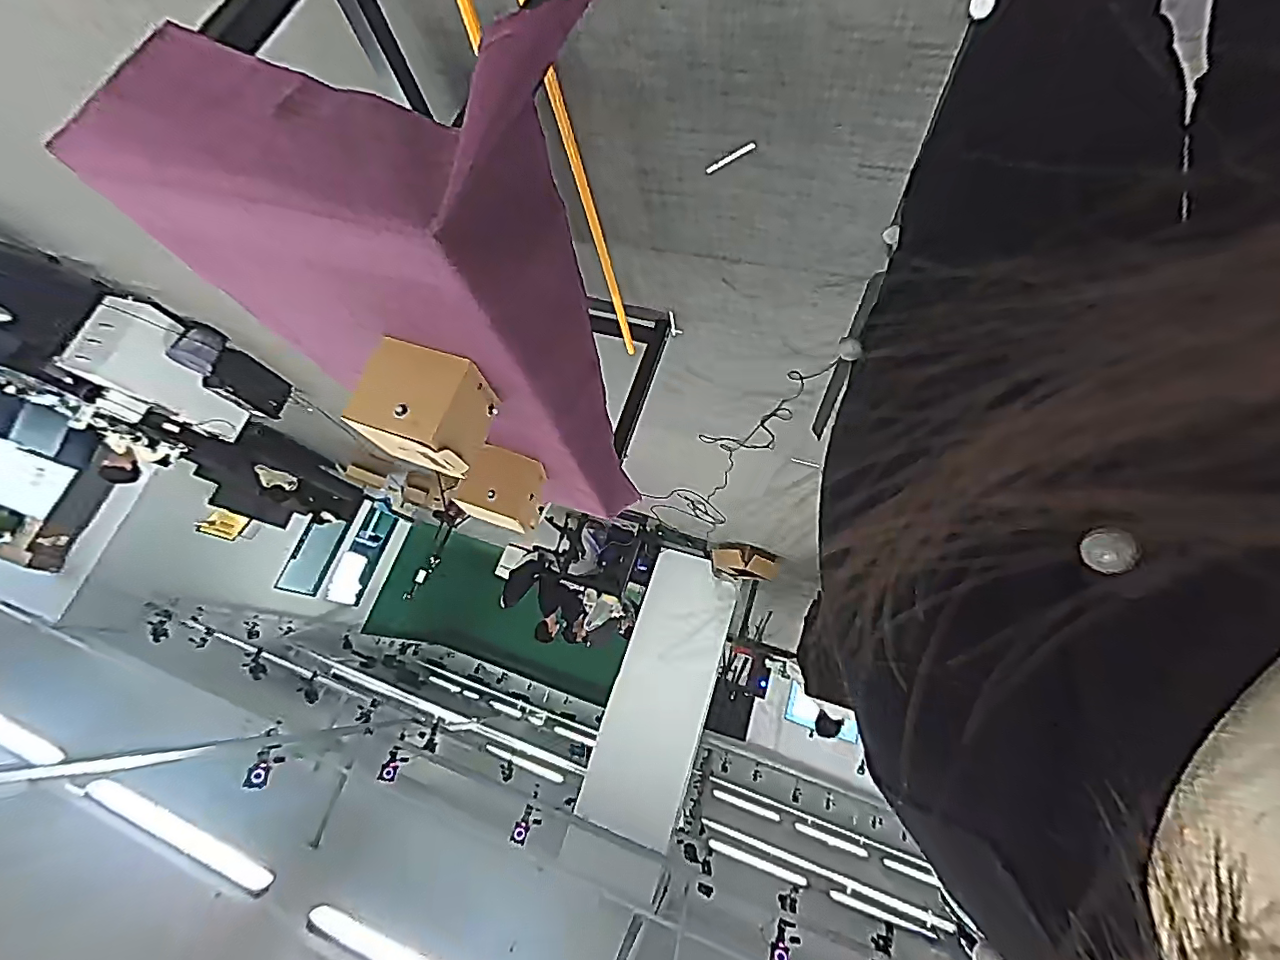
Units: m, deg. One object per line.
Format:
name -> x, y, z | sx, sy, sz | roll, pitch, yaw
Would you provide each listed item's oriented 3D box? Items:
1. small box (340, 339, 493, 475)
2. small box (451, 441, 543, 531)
small box -> -0.387, -0.132, 0.979 | 0.179, 0.176, 0.168 | 17, 163, 10
small box -> -0.363, 0.016, 1.419 | 0.179, 0.176, 0.168 | 19, 162, 2
